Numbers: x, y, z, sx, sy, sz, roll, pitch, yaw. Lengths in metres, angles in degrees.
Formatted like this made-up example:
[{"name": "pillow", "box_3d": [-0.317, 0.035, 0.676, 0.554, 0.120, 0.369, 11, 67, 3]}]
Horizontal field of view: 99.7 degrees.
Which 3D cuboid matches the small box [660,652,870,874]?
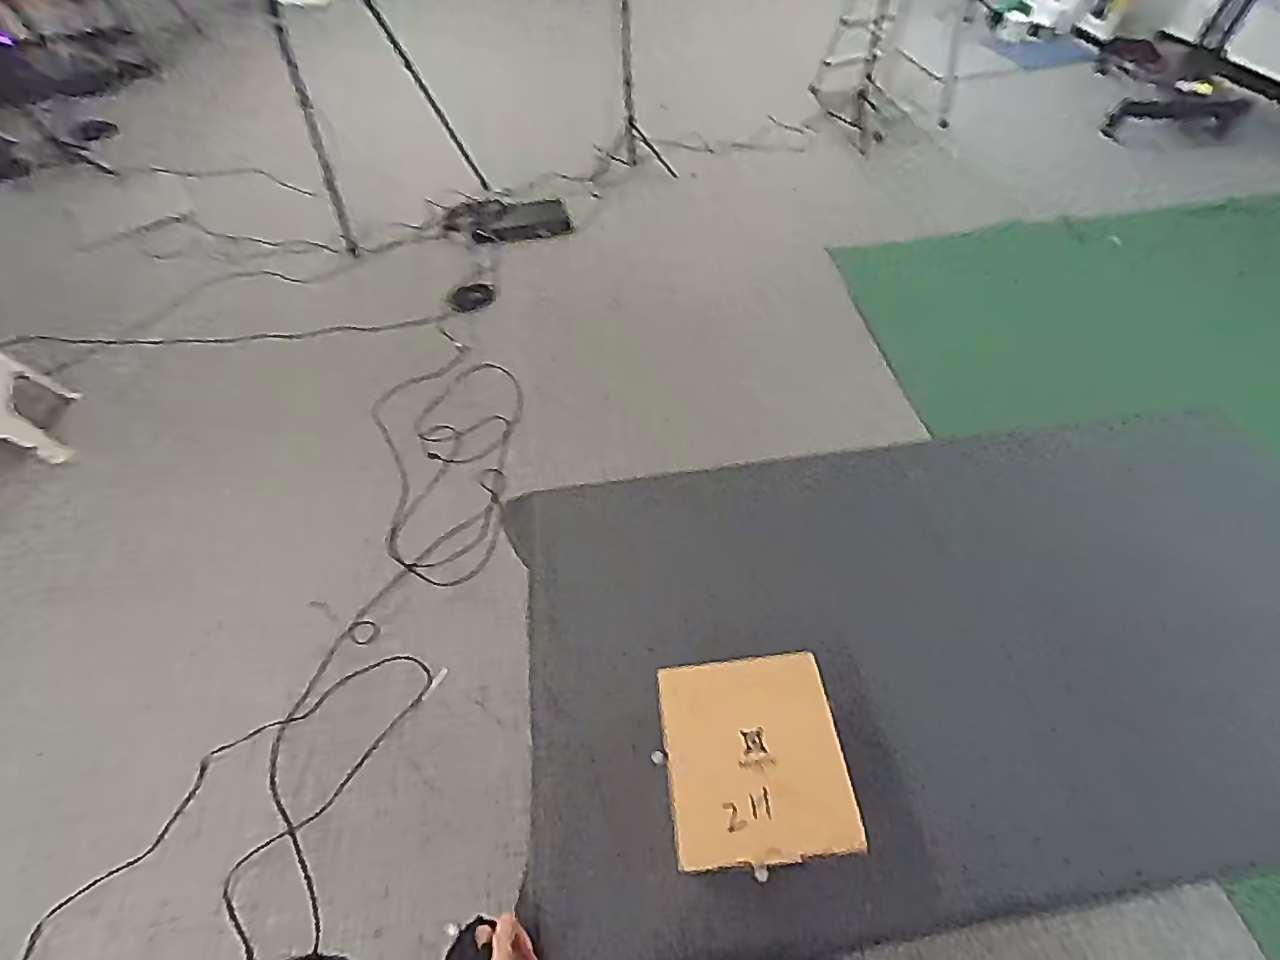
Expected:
[{"name": "small box", "box_3d": [0.112, 0.303, 0.575, 0.168, 0.176, 0.179, -5, 53, -2]}]
